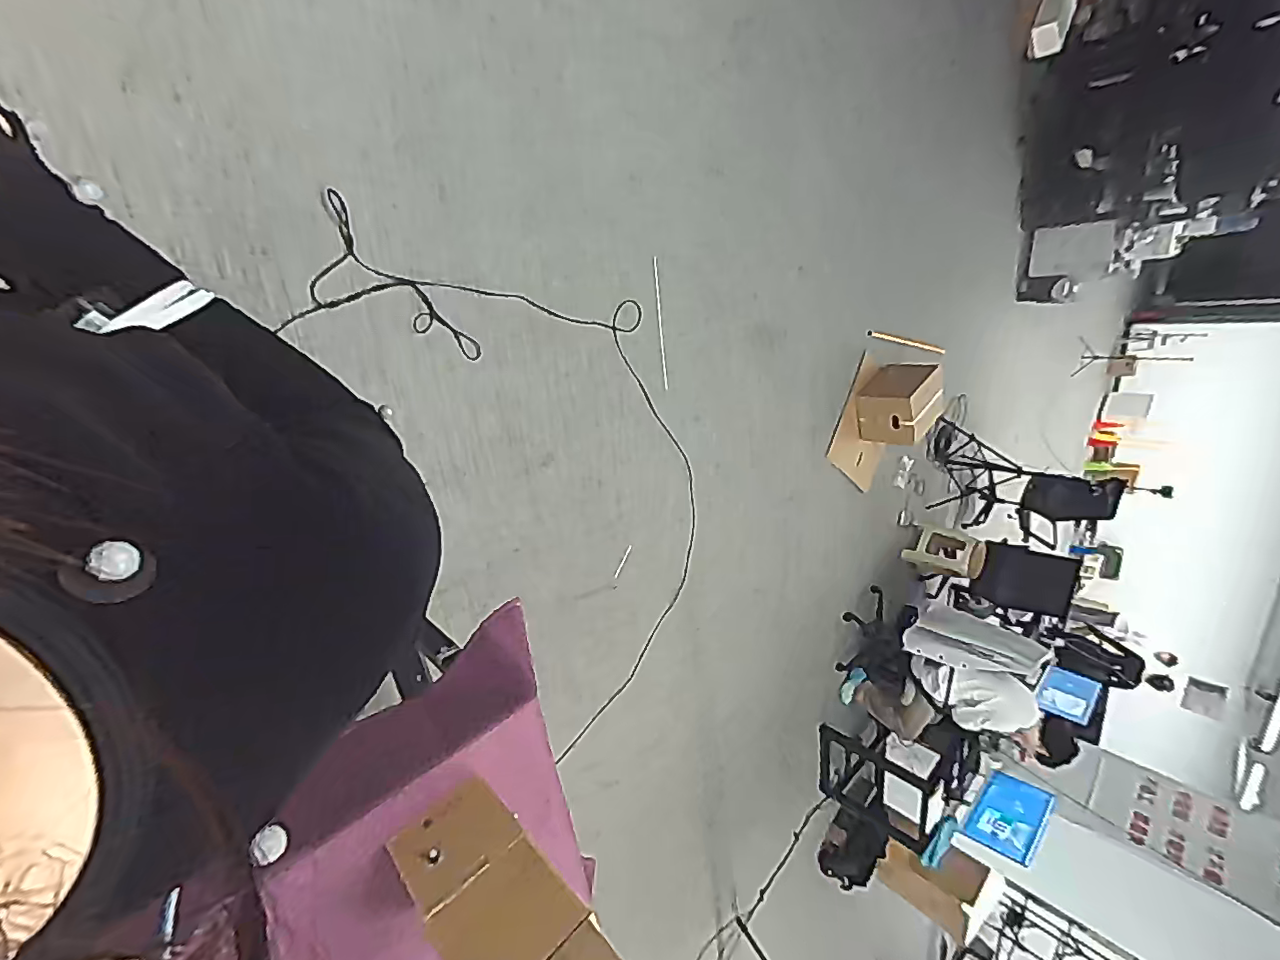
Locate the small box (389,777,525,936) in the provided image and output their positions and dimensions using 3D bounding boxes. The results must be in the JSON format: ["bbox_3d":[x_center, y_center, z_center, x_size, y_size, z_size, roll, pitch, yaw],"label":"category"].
[{"bbox_3d":[-0.285,0.630,0.888,0.168,0.176,0.179,-27,119,-36],"label":"small box"}]

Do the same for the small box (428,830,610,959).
[{"bbox_3d":[-0.172,0.660,0.776,0.179,0.176,0.168,-28,119,-34],"label":"small box"}]
